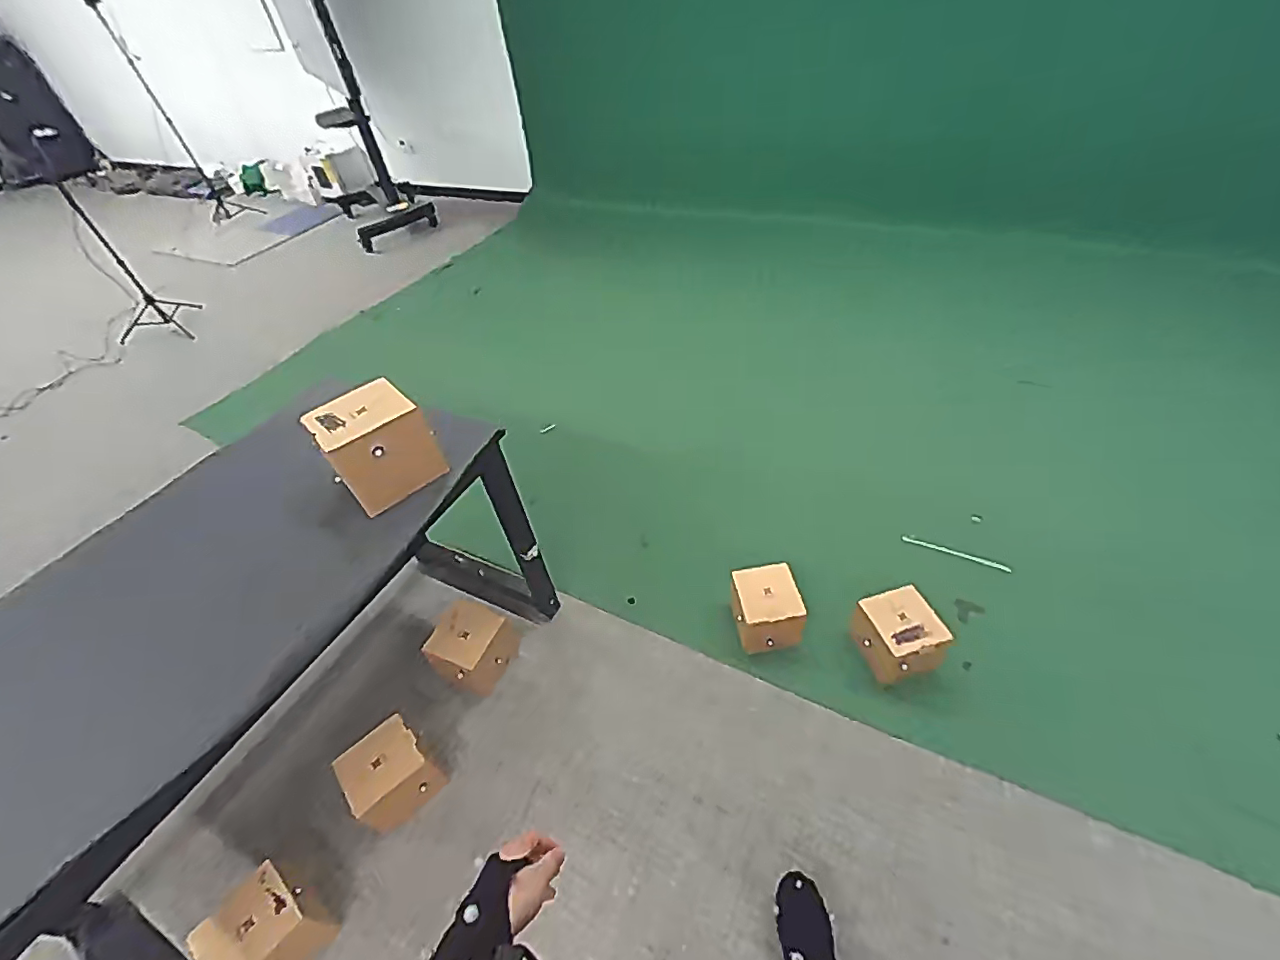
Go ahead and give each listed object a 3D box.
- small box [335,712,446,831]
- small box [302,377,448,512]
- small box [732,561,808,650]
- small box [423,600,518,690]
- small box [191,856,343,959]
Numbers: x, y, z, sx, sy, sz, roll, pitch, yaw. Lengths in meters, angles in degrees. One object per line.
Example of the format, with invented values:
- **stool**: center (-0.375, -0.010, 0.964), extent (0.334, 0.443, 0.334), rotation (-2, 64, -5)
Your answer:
- **small box**: center (-0.605, 0.721, 1.337), extent (0.179, 0.176, 0.168), rotation (-37, 51, -24)
- **small box**: center (-0.515, -0.068, 1.066), extent (0.179, 0.176, 0.168), rotation (-36, 50, -24)
- **small box**: center (0.365, 0.363, 1.560), extent (0.168, 0.176, 0.179), rotation (-10, 46, -2)
- **small box**: center (-0.477, 0.478, 1.554), extent (0.179, 0.176, 0.168), rotation (13, 48, 19)
- **small box**: center (-0.776, 0.947, 1.138), extent (0.168, 0.176, 0.179), rotation (28, 56, 30)
